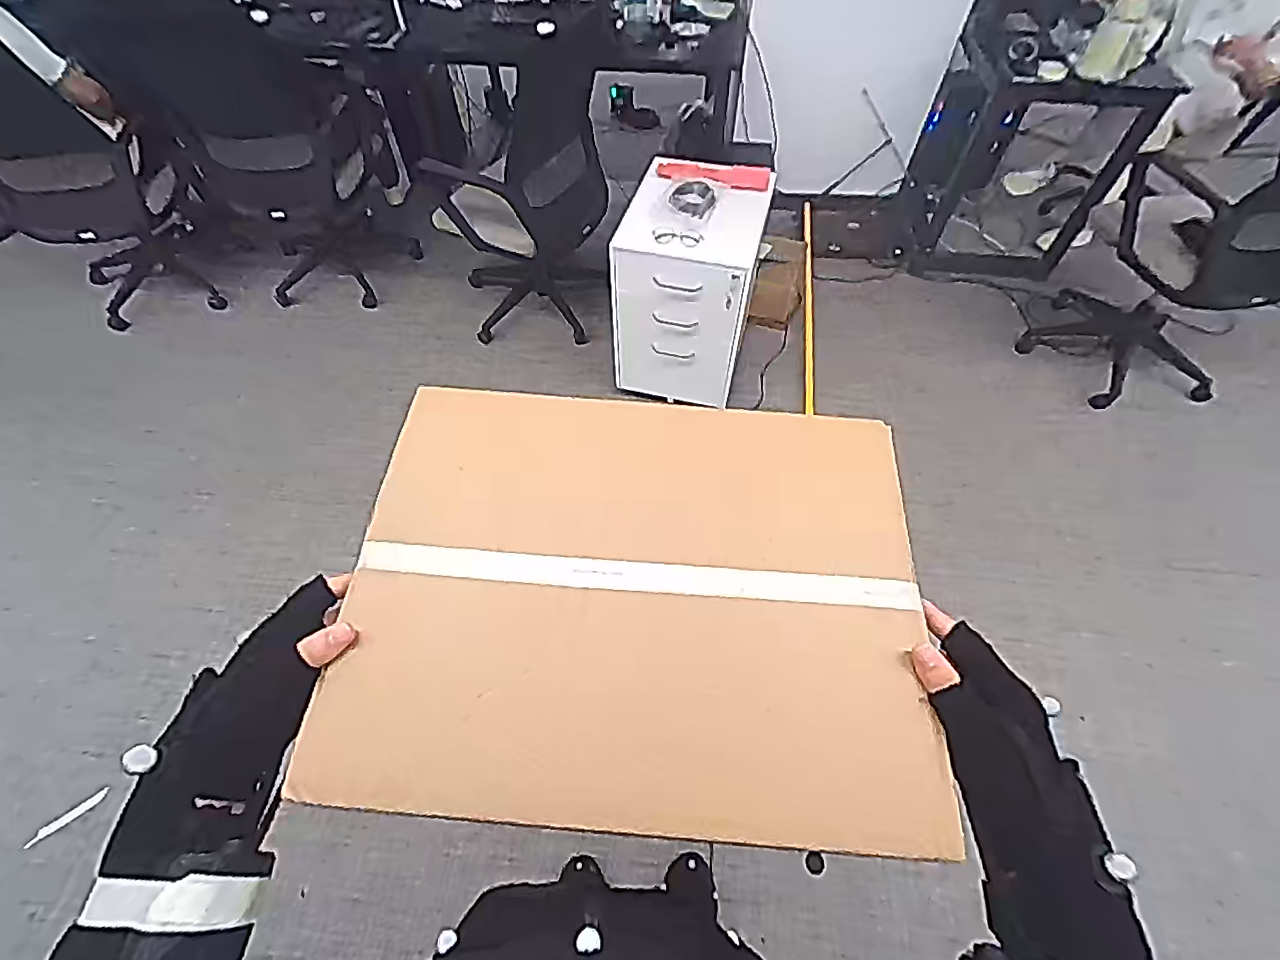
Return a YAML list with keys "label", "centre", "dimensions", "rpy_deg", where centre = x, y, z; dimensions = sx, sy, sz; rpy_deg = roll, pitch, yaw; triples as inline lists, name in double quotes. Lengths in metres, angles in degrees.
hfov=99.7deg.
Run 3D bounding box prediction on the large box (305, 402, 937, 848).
- label: "large box"
  centre: [-0.005, 0.147, 0.535]
  dimensions: [0.408, 0.320, 0.320]
  rpy_deg: [5, 61, 0]
